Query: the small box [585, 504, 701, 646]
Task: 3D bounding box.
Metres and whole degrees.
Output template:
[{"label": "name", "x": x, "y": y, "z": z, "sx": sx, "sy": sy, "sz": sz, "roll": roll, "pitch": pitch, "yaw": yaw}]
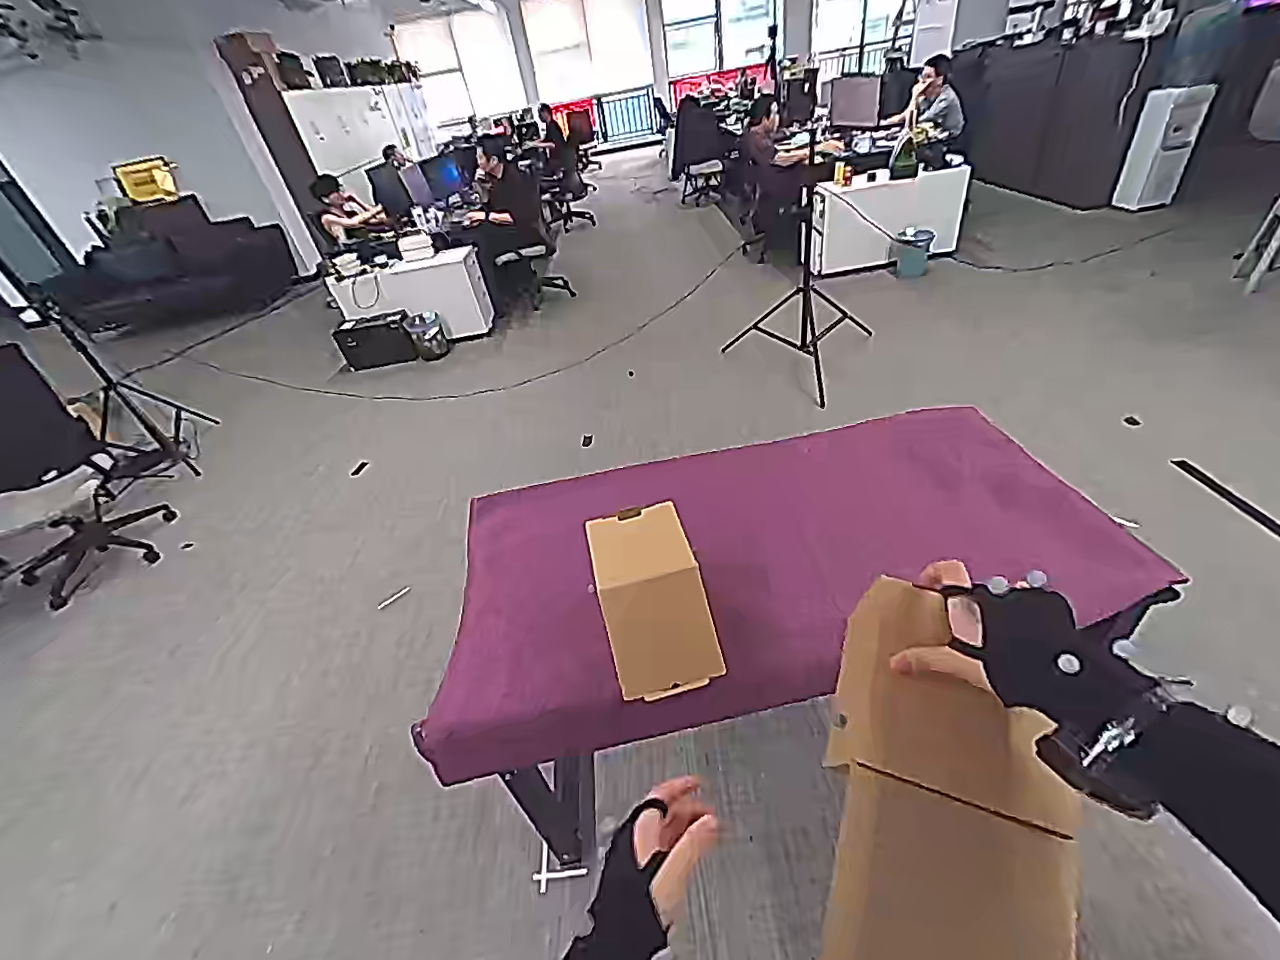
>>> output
[{"label": "small box", "x": 0.007, "y": 0.174, "z": 0.970, "sx": 0.168, "sy": 0.176, "sz": 0.179, "roll": -13, "pitch": 35, "yaw": -4}]
